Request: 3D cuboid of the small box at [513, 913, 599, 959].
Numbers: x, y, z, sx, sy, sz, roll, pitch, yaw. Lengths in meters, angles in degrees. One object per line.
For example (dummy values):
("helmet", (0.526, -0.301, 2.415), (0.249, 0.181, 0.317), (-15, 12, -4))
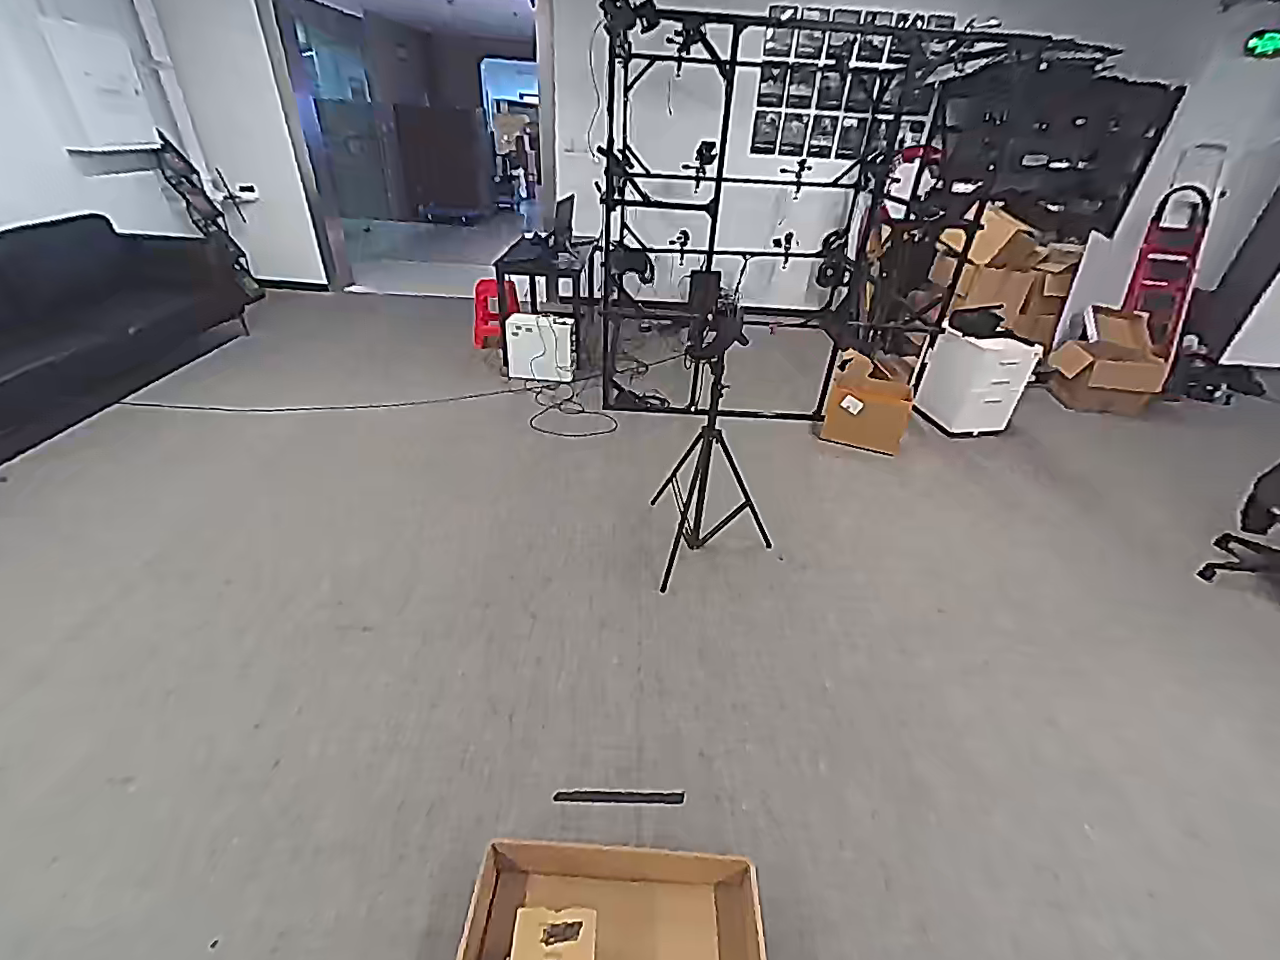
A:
("small box", (-0.172, 1.004, 1.078), (0.168, 0.176, 0.179), (3, 33, -2))
